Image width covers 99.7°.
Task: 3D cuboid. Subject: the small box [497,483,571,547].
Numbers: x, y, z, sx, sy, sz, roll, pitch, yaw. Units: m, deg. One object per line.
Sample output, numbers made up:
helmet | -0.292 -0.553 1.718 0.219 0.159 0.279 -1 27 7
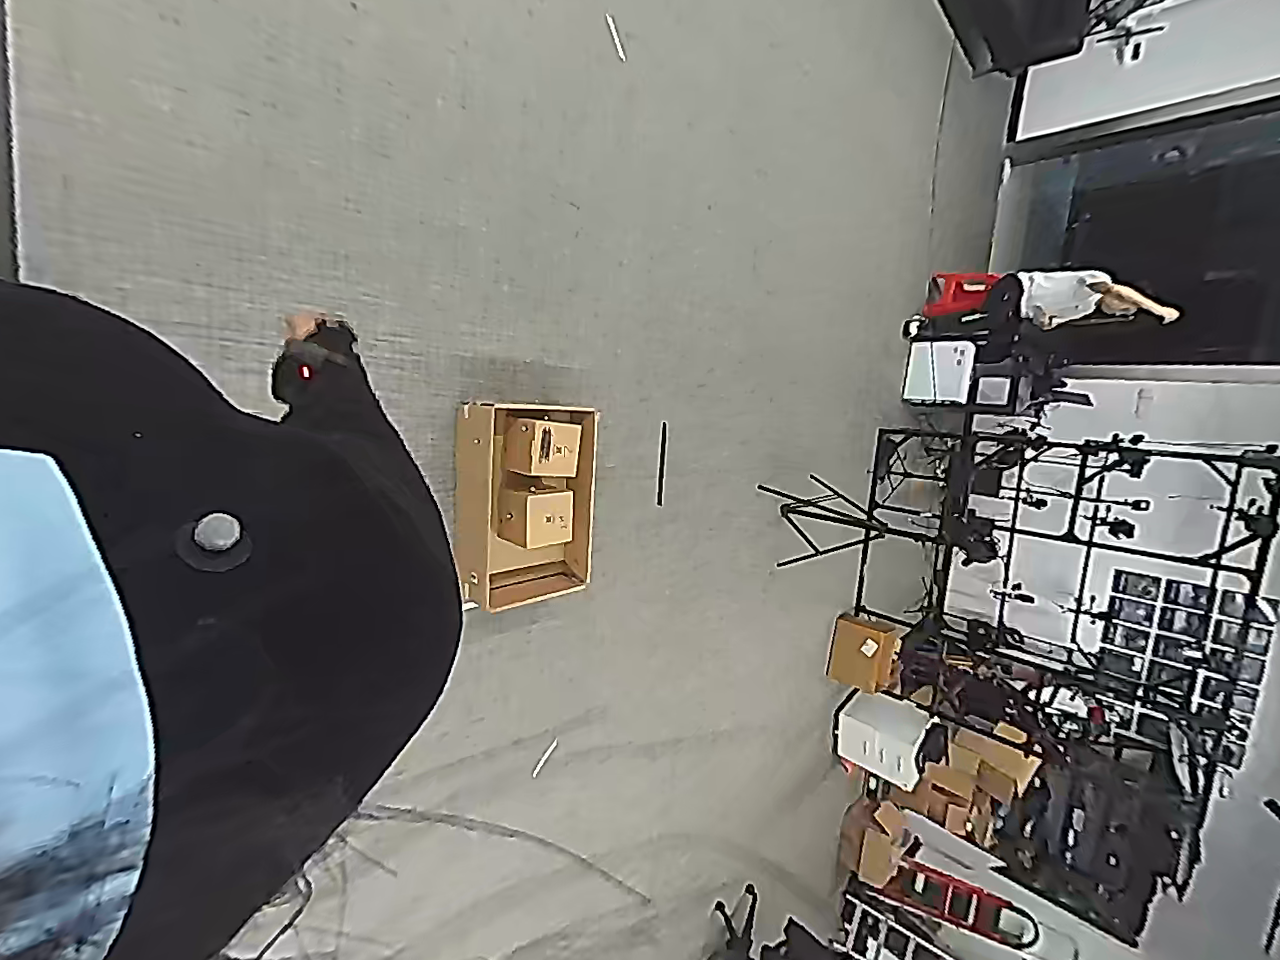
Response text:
small box | -0.342 0.106 1.722 0.179 0.176 0.168 -6 103 -46
